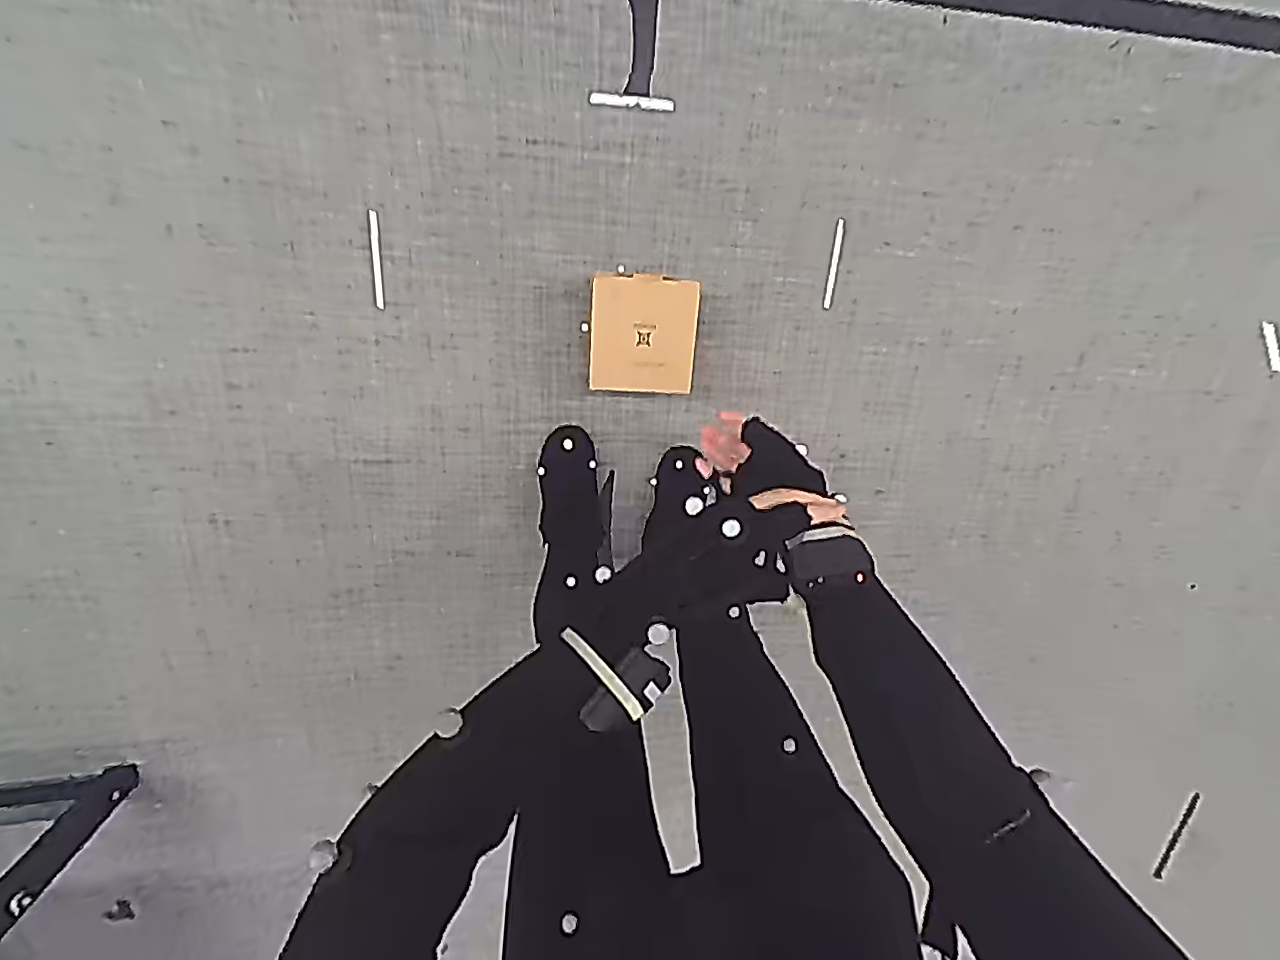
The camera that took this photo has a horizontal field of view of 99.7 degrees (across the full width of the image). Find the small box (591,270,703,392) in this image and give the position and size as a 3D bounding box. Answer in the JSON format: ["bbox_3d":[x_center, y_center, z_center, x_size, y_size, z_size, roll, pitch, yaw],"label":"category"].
[{"bbox_3d":[0.003,-0.254,0.916,0.168,0.176,0.179,2,110,-6],"label":"small box"}]
